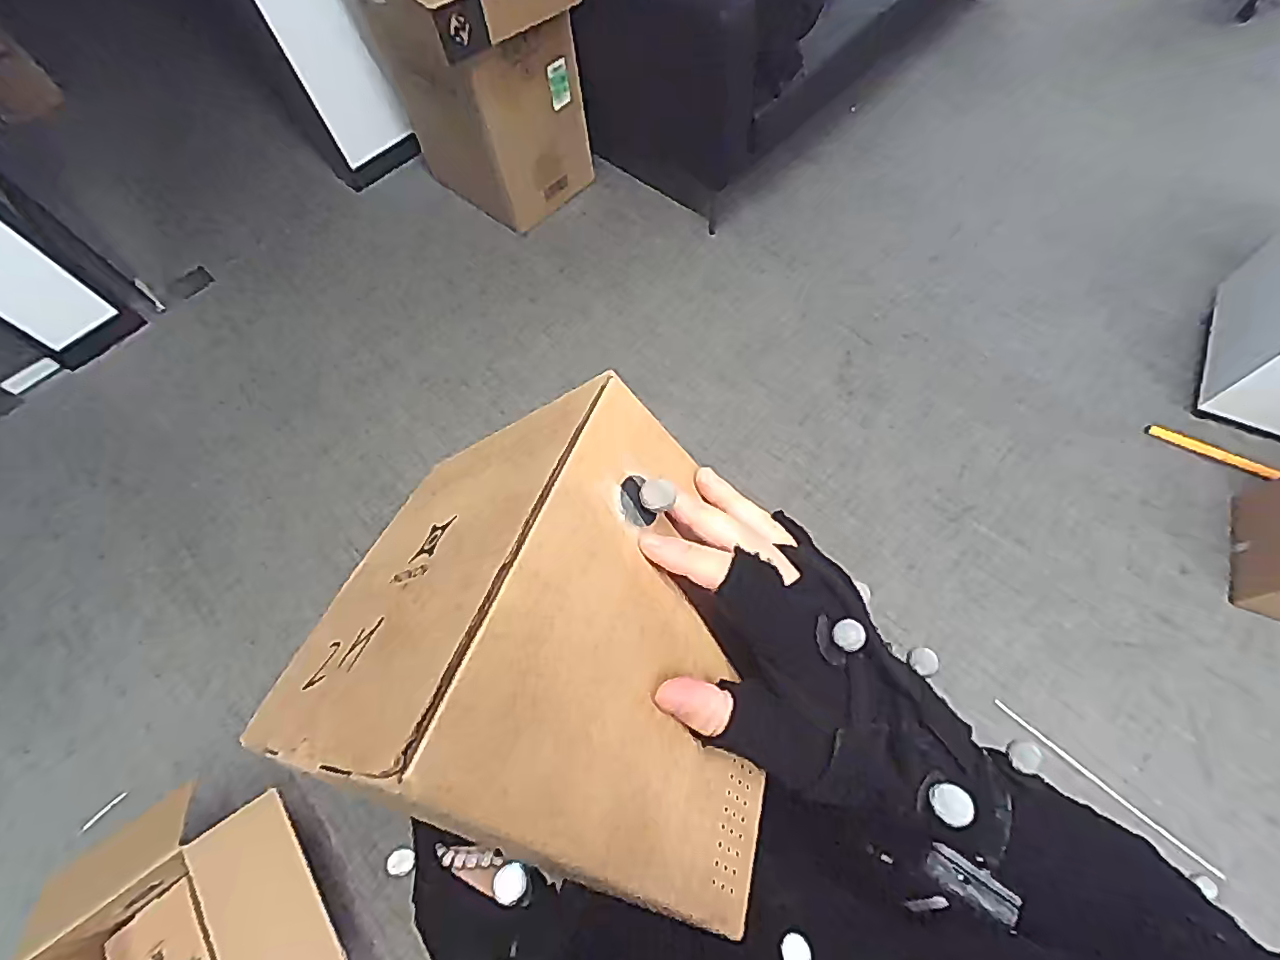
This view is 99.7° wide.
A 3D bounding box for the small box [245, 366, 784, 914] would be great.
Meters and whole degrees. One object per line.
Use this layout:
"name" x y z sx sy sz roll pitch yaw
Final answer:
"small box" -0.043 0.080 0.279 0.168 0.176 0.179 -19 38 40
